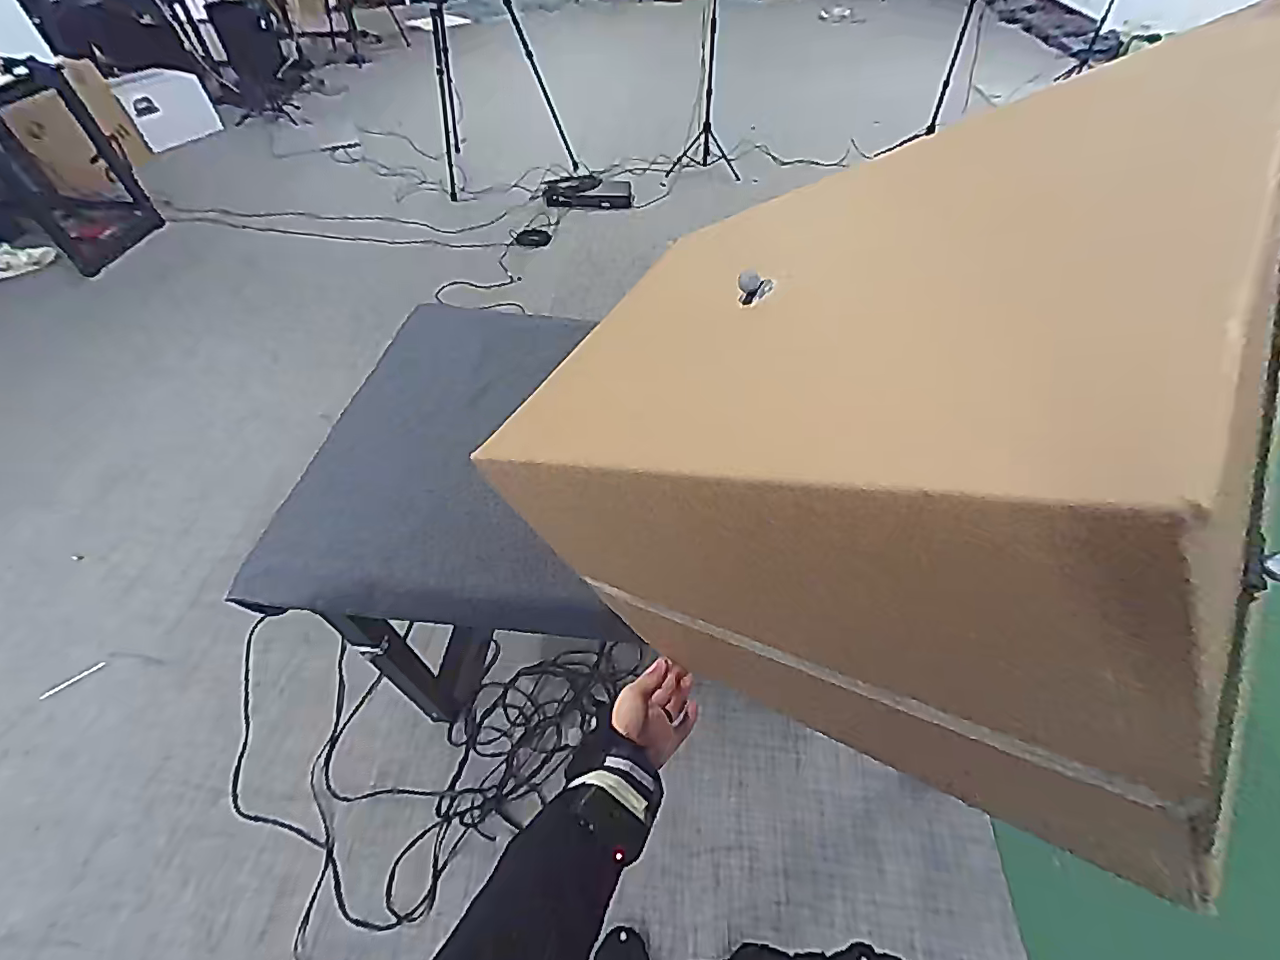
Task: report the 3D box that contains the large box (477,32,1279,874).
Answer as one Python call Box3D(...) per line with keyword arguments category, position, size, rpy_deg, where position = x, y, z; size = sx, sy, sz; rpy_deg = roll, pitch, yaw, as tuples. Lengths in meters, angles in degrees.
Box3D(category="large box", position=(0.156, -0.008, 0.409), size=(0.408, 0.320, 0.320), rpy_deg=(5, 51, 49))
